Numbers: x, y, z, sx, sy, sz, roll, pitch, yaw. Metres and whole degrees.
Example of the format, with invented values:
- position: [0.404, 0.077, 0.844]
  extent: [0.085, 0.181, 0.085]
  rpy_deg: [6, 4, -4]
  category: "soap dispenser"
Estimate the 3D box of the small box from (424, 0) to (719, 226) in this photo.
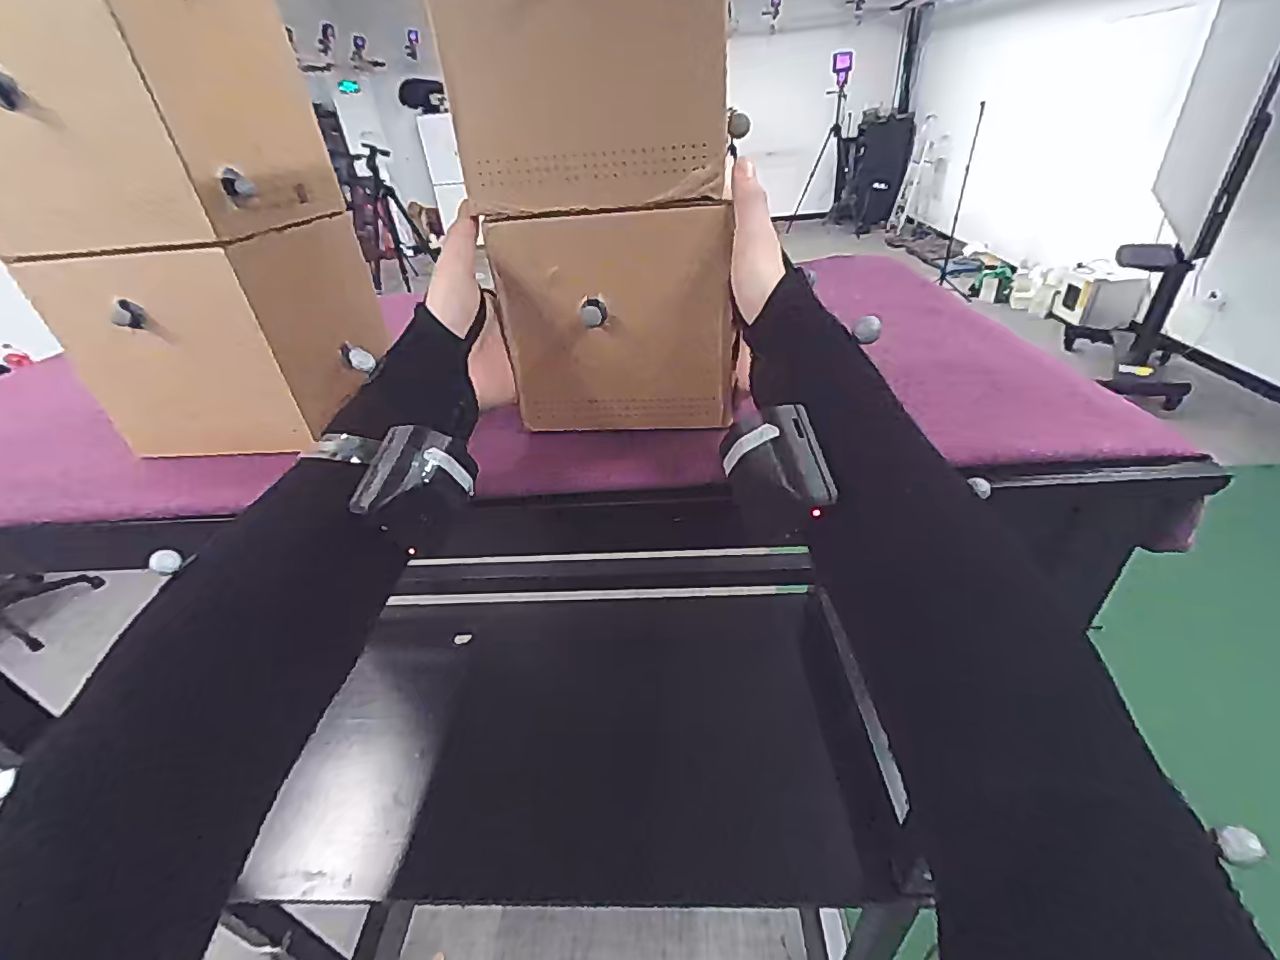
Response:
- position: [-0.034, -0.287, 0.386]
  extent: [0.179, 0.176, 0.168]
  rpy_deg: [0, 34, 9]
  category: "small box"

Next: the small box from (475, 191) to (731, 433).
- position: [-0.014, -0.150, 0.475]
  extent: [0.179, 0.176, 0.168]
  rpy_deg: [-3, 34, 8]
  category: "small box"

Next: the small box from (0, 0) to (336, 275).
- position: [-0.374, -0.263, 0.408]
  extent: [0.179, 0.176, 0.168]
  rpy_deg: [-3, 33, 7]
  category: "small box"

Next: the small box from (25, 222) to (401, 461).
- position: [-0.359, -0.127, 0.499]
  extent: [0.179, 0.176, 0.168]
  rpy_deg: [-2, 34, 7]
  category: "small box"
